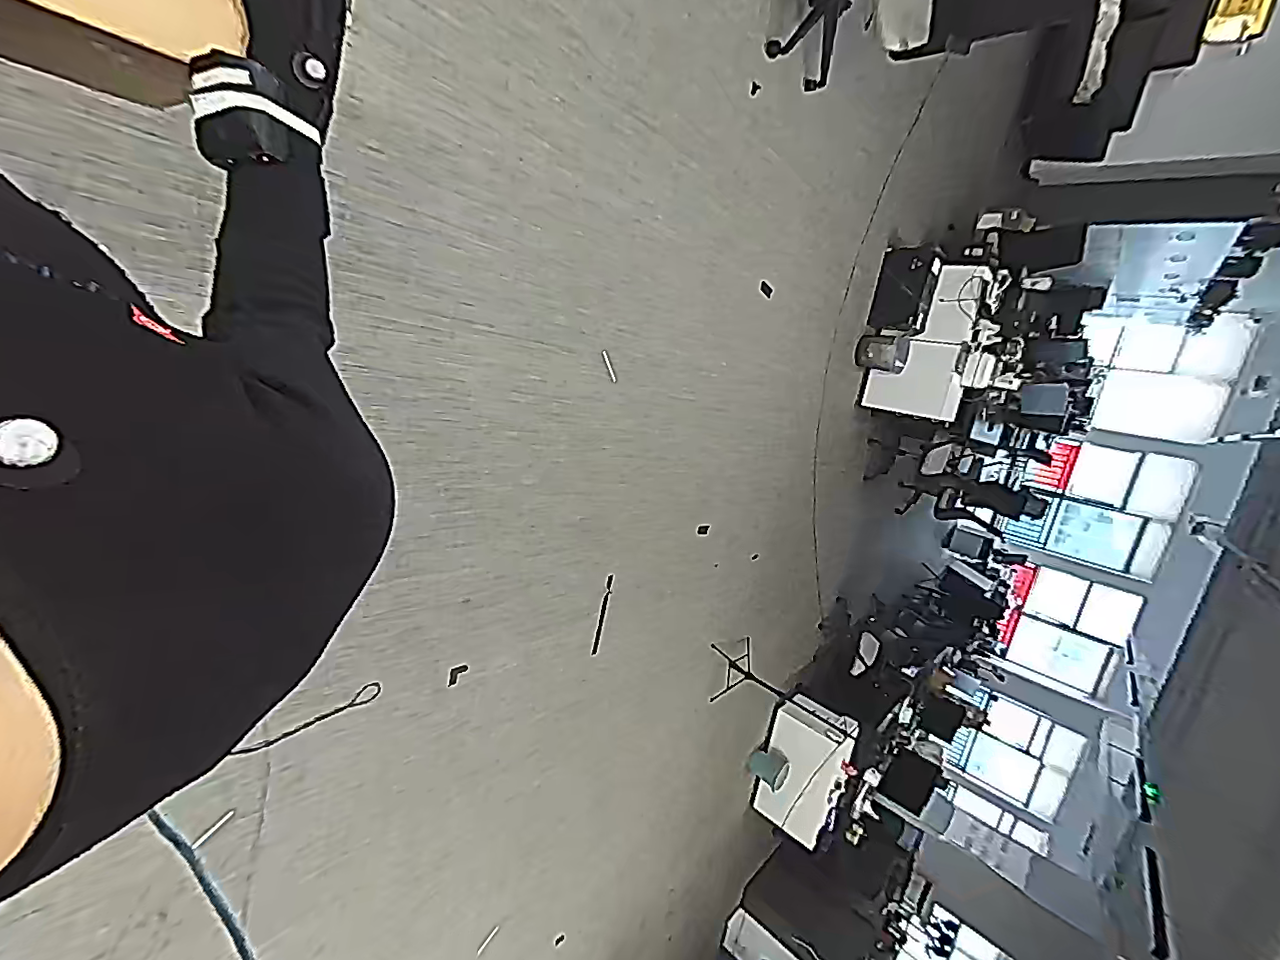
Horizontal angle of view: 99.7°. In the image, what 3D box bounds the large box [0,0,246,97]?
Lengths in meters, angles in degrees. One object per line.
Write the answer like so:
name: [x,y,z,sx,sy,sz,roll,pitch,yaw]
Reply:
large box: [-0.516,-0.483,0.310,0.408,0.320,0.320,-9,118,-50]
